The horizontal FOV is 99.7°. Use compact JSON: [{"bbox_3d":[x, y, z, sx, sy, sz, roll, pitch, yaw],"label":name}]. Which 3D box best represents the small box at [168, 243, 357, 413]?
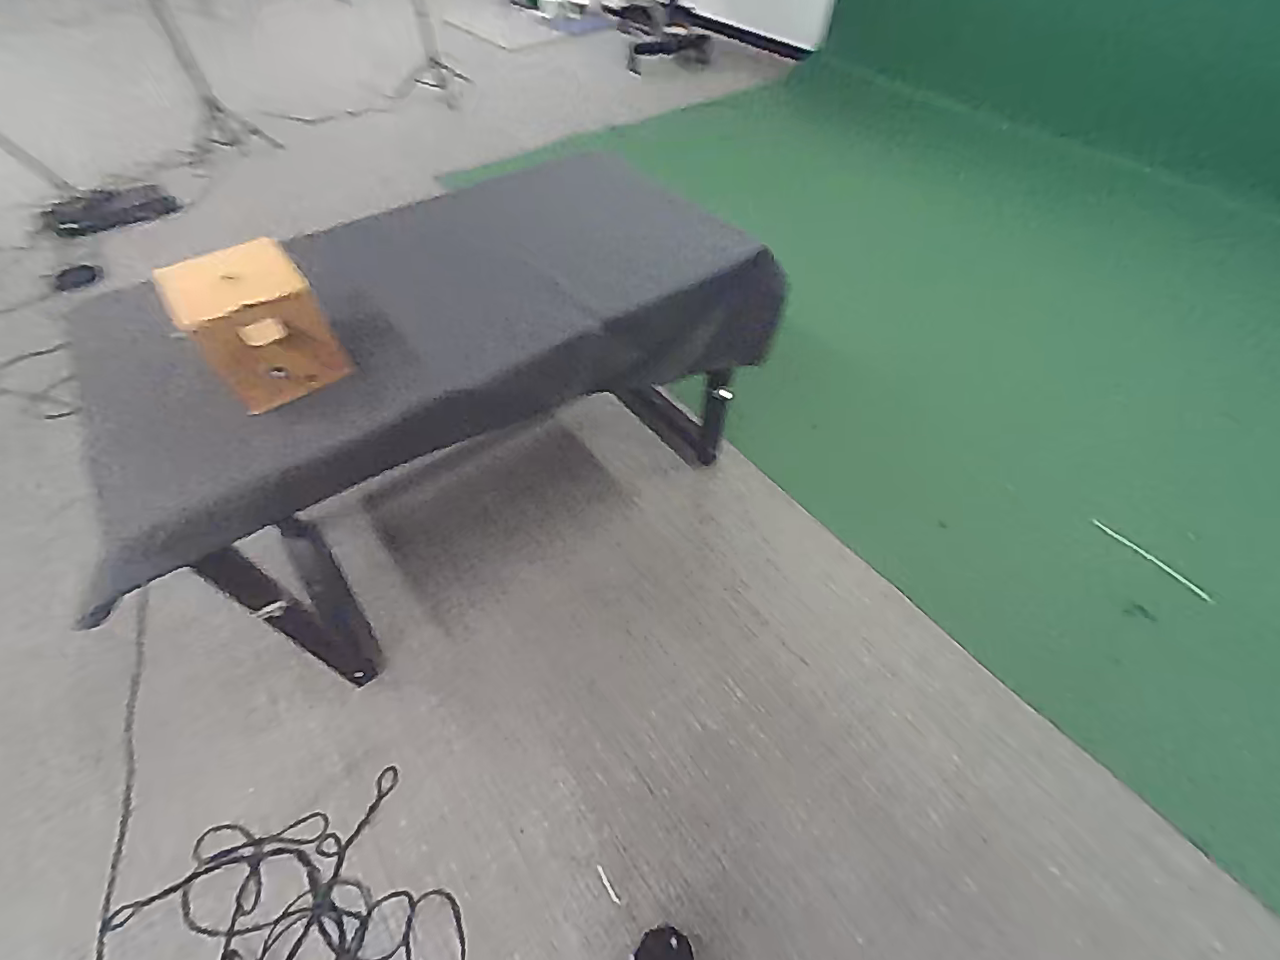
[{"bbox_3d":[-0.585,-0.238,0.854,0.168,0.176,0.179,-32,59,-23],"label":"small box"}]
